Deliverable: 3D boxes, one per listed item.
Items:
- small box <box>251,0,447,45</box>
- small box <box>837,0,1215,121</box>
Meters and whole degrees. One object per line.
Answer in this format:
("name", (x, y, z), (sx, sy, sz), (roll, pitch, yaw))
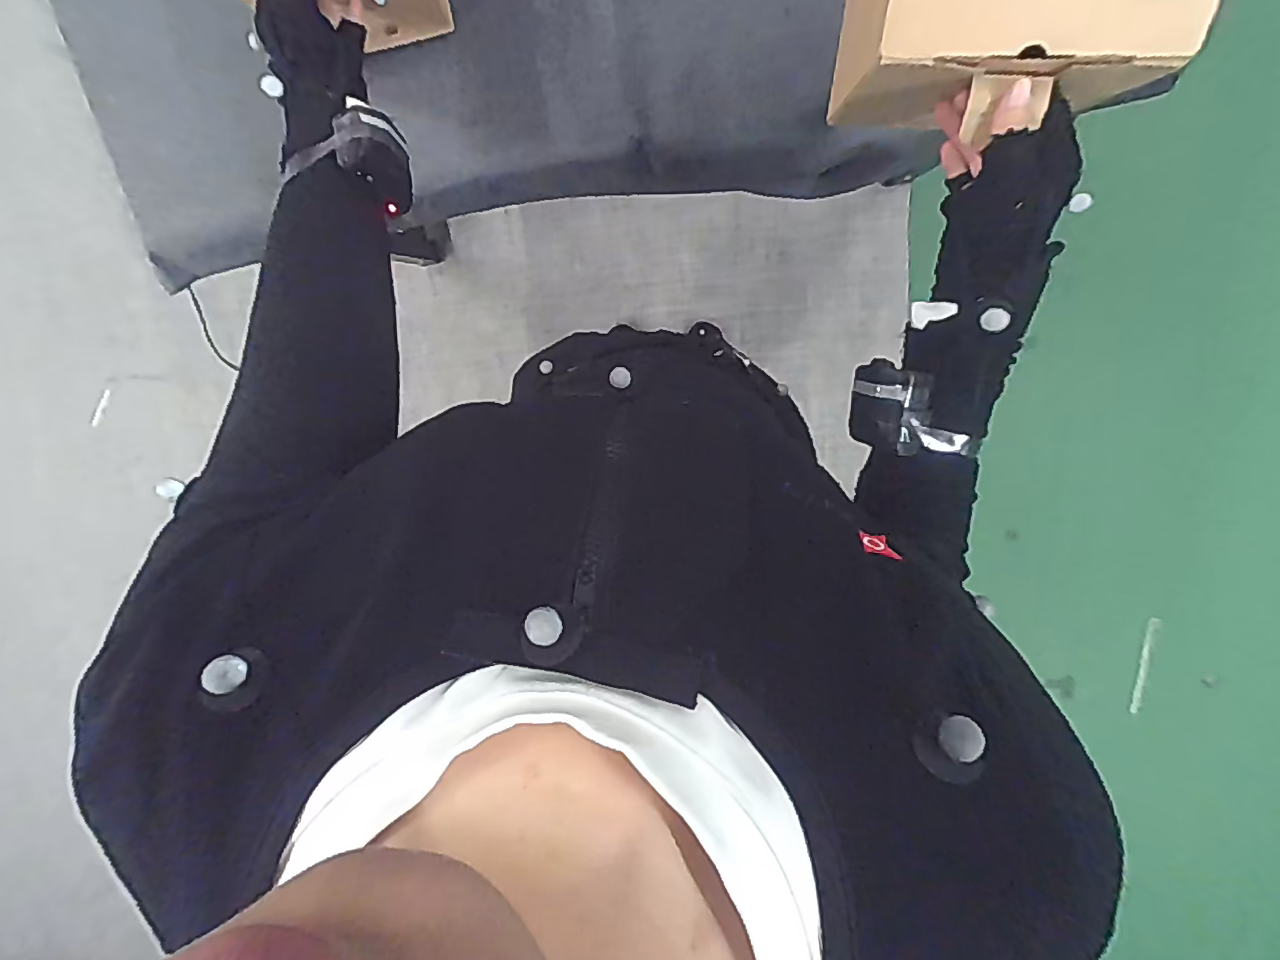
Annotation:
("small box", (-0.292, -0.530, 0.477), (0.168, 0.176, 0.179), (-12, 100, 1))
("small box", (0.232, -0.341, 0.338), (0.168, 0.176, 0.179), (6, 114, 6))
